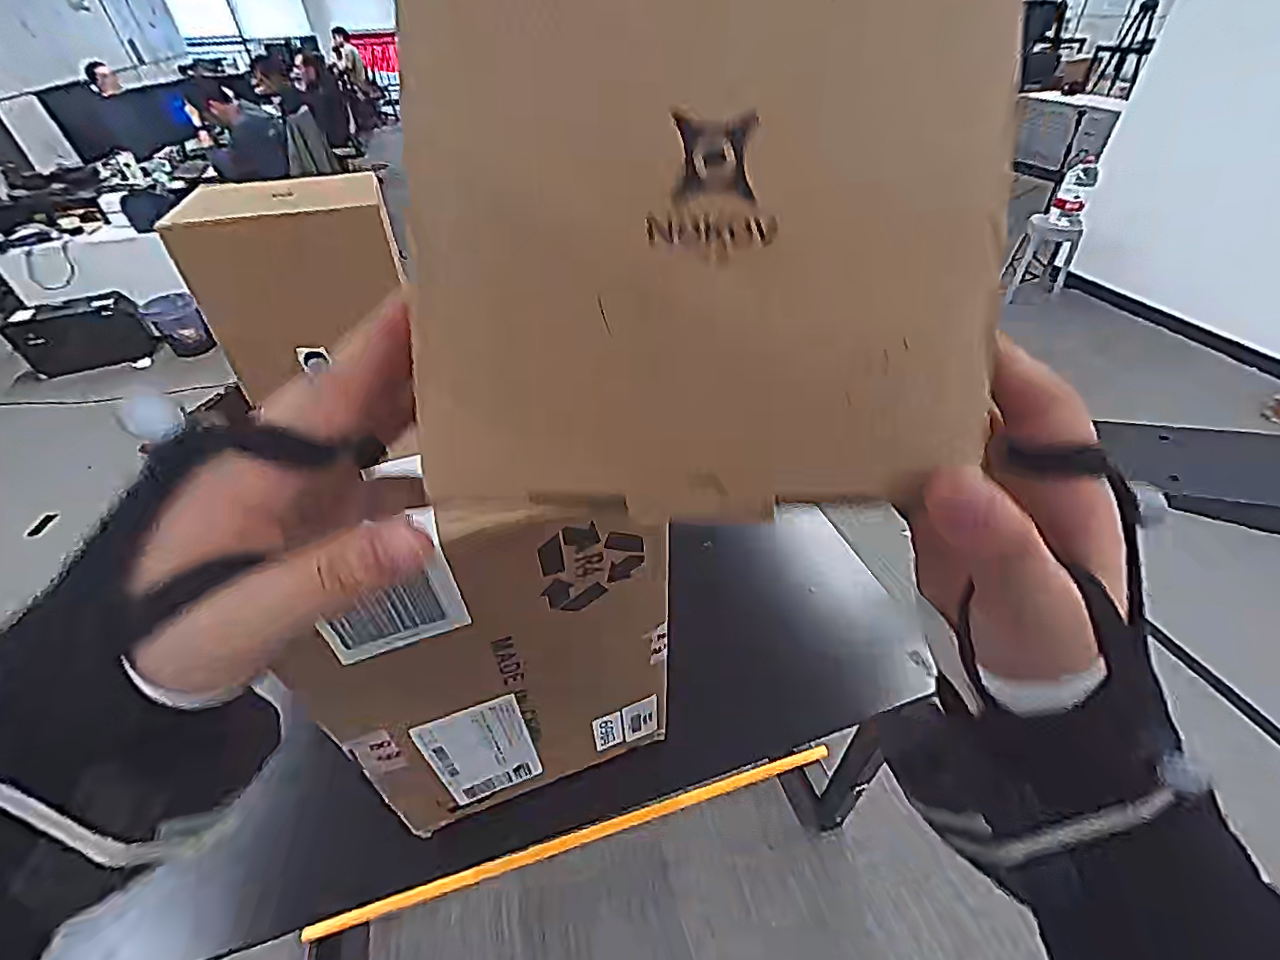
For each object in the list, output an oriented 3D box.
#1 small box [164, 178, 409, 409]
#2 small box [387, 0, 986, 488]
[{"bbox_3d":[-0.327,-0.196,0.554,0.168,0.176,0.179,-16,42,-17],"label":"small box"},{"bbox_3d":[0.011,-0.096,0.234,0.168,0.179,0.176,0,8,-2],"label":"small box"}]
